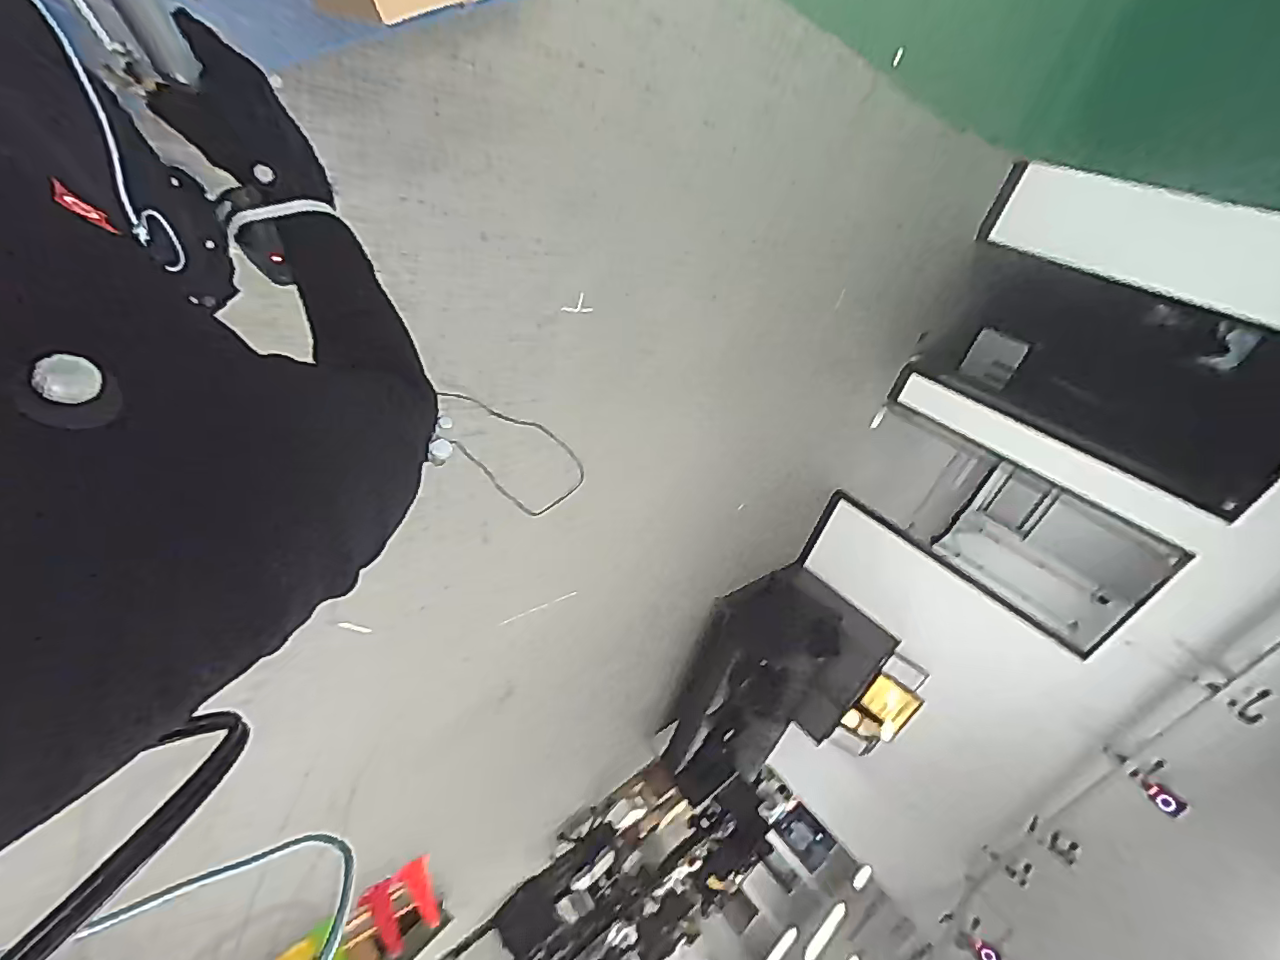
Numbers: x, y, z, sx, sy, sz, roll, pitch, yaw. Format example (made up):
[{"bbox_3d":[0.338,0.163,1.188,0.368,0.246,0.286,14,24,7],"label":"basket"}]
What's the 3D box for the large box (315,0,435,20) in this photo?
[{"bbox_3d":[-0.372,-0.923,0.722,0.320,0.320,0.408,-38,144,-18],"label":"large box"}]
